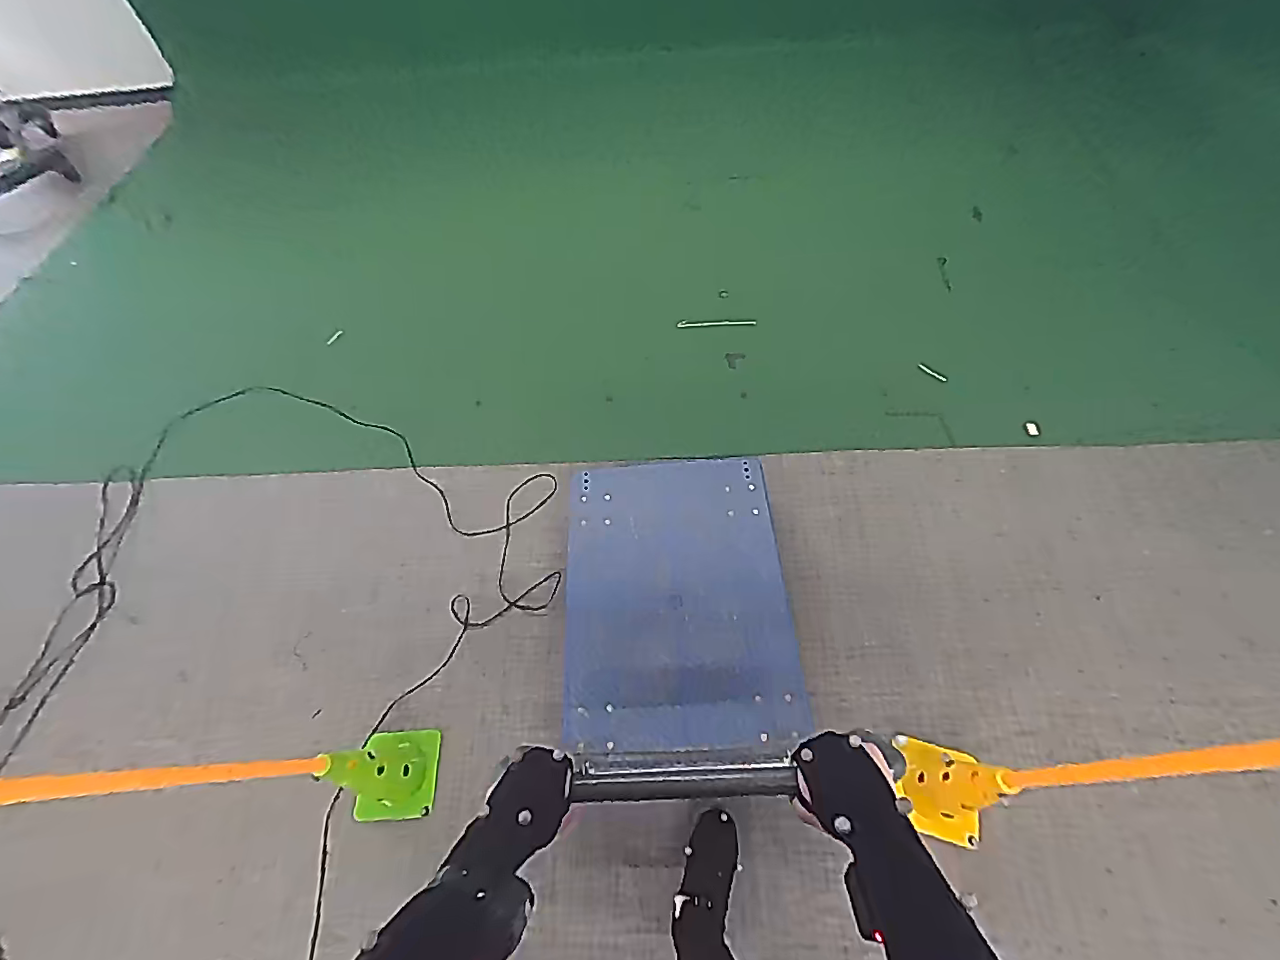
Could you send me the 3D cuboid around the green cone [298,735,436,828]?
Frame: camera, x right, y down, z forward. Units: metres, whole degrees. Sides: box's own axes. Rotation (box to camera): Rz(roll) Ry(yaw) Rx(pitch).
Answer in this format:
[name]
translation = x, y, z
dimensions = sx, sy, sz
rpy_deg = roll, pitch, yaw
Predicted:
[green cone]
translation = -0.643, 0.673, 1.233
dimensions = 0.202, 0.368, 0.200
rpy_deg = -6, 57, 3
